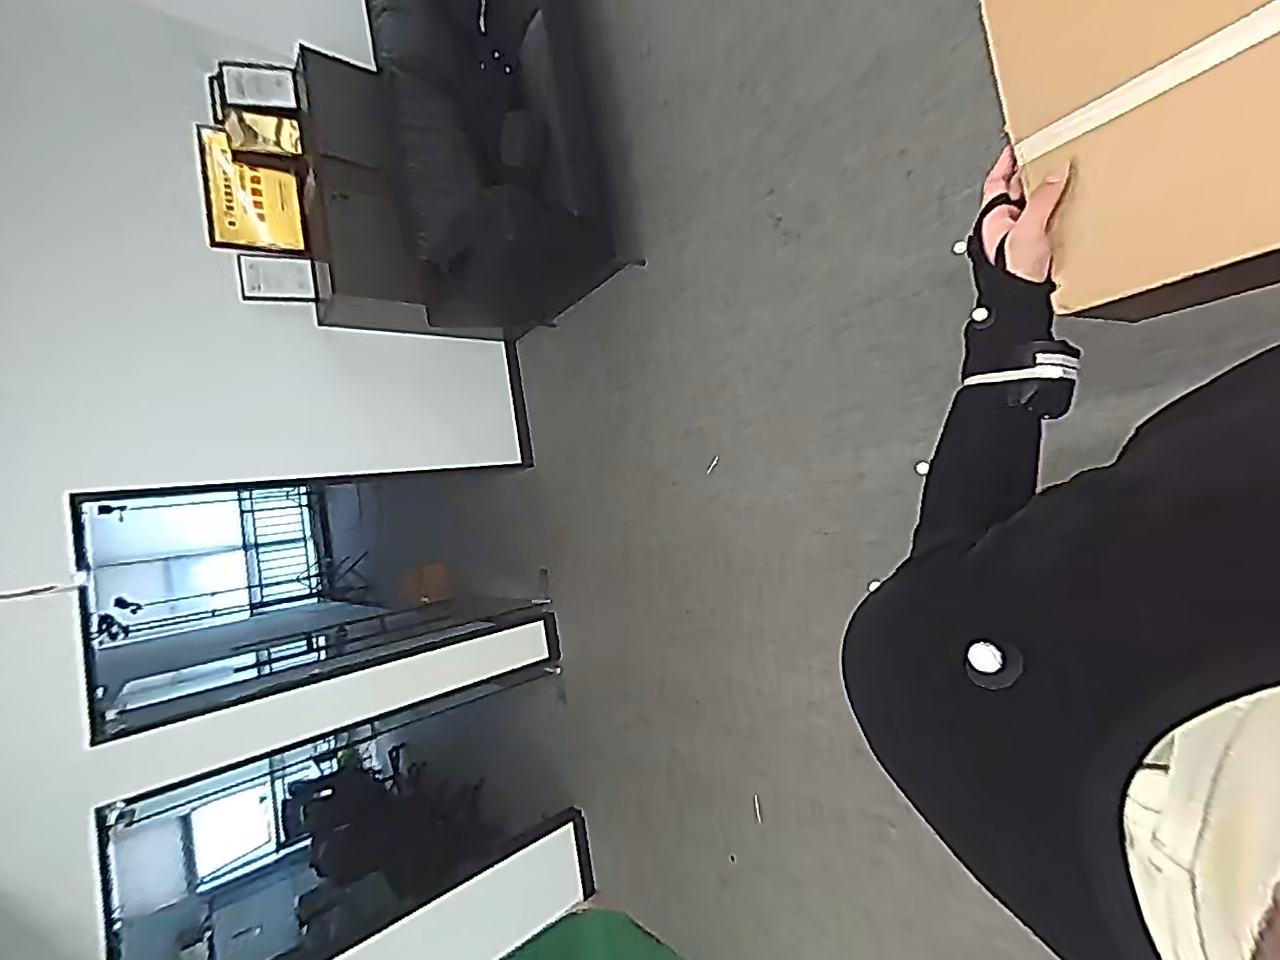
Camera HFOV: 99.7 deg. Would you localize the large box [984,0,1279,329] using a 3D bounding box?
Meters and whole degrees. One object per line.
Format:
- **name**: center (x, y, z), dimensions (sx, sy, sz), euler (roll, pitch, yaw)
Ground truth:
- **large box**: center (0.600, -0.356, 0.464), dimensions (0.408, 0.320, 0.320), euler (-15, 87, 51)
